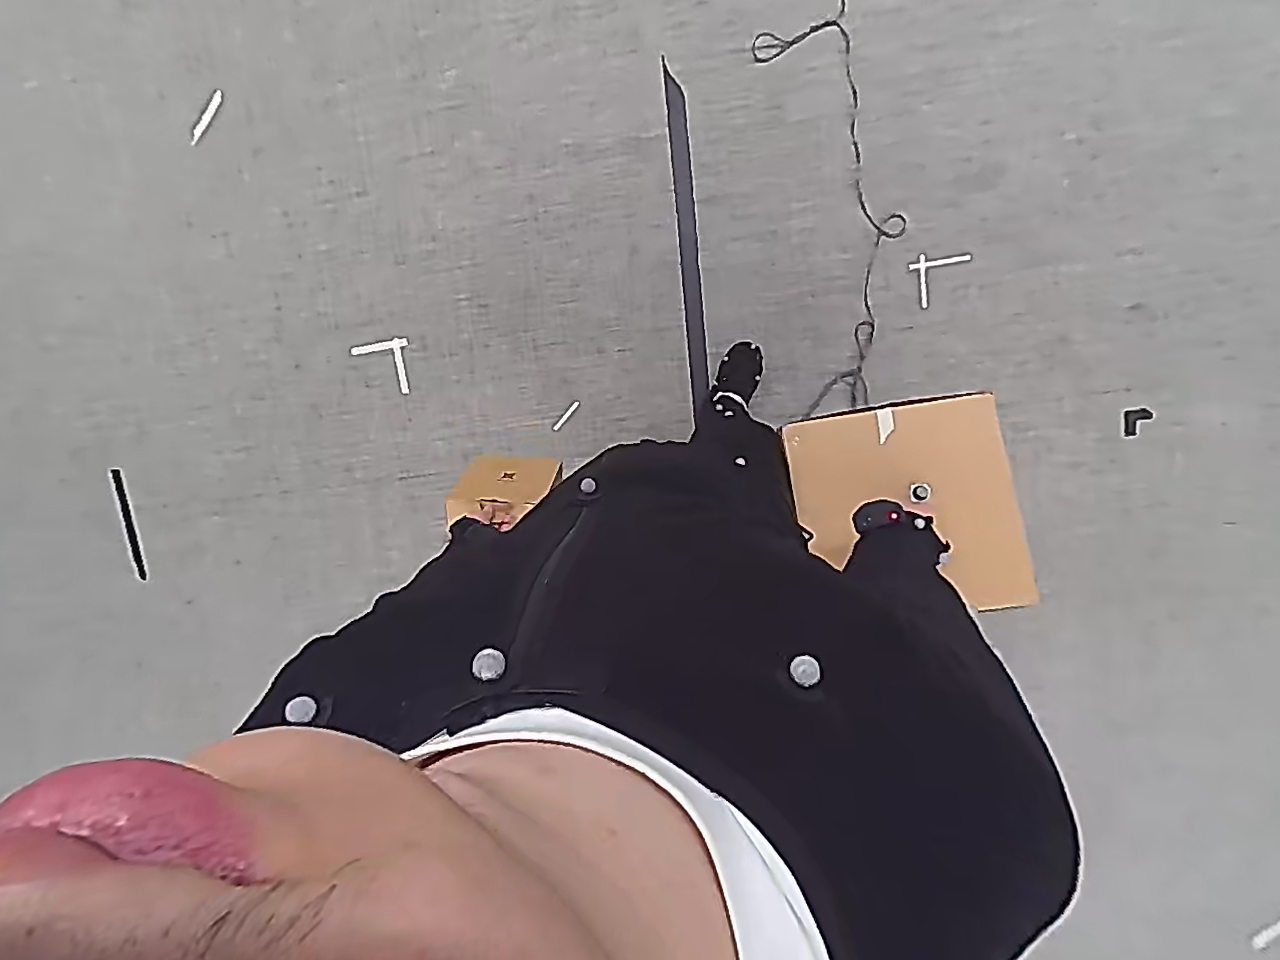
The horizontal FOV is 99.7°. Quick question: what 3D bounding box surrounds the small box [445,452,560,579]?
[{"bbox_3d":[-0.242,0.064,1.005,0.168,0.179,0.176,5,119,1],"label":"small box"}]
